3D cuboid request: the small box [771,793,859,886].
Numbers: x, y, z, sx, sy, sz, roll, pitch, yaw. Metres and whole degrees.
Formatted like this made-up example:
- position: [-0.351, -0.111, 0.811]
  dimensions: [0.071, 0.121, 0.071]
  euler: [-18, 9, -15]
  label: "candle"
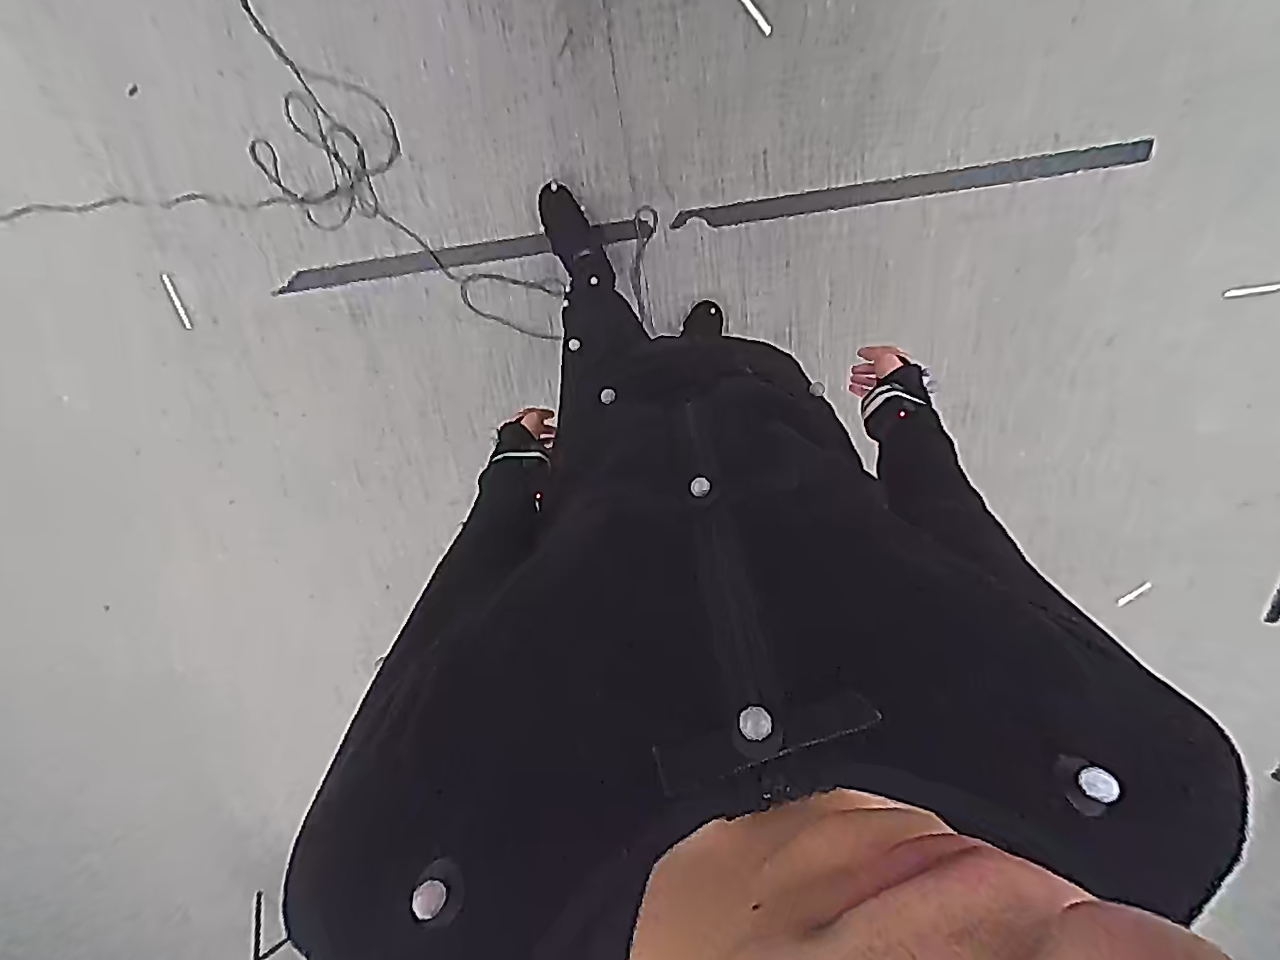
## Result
- position: [0.446, 0.942, 1.398]
  dimensions: [0.179, 0.176, 0.168]
  euler: [-8, 114, 4]
  label: "small box"
